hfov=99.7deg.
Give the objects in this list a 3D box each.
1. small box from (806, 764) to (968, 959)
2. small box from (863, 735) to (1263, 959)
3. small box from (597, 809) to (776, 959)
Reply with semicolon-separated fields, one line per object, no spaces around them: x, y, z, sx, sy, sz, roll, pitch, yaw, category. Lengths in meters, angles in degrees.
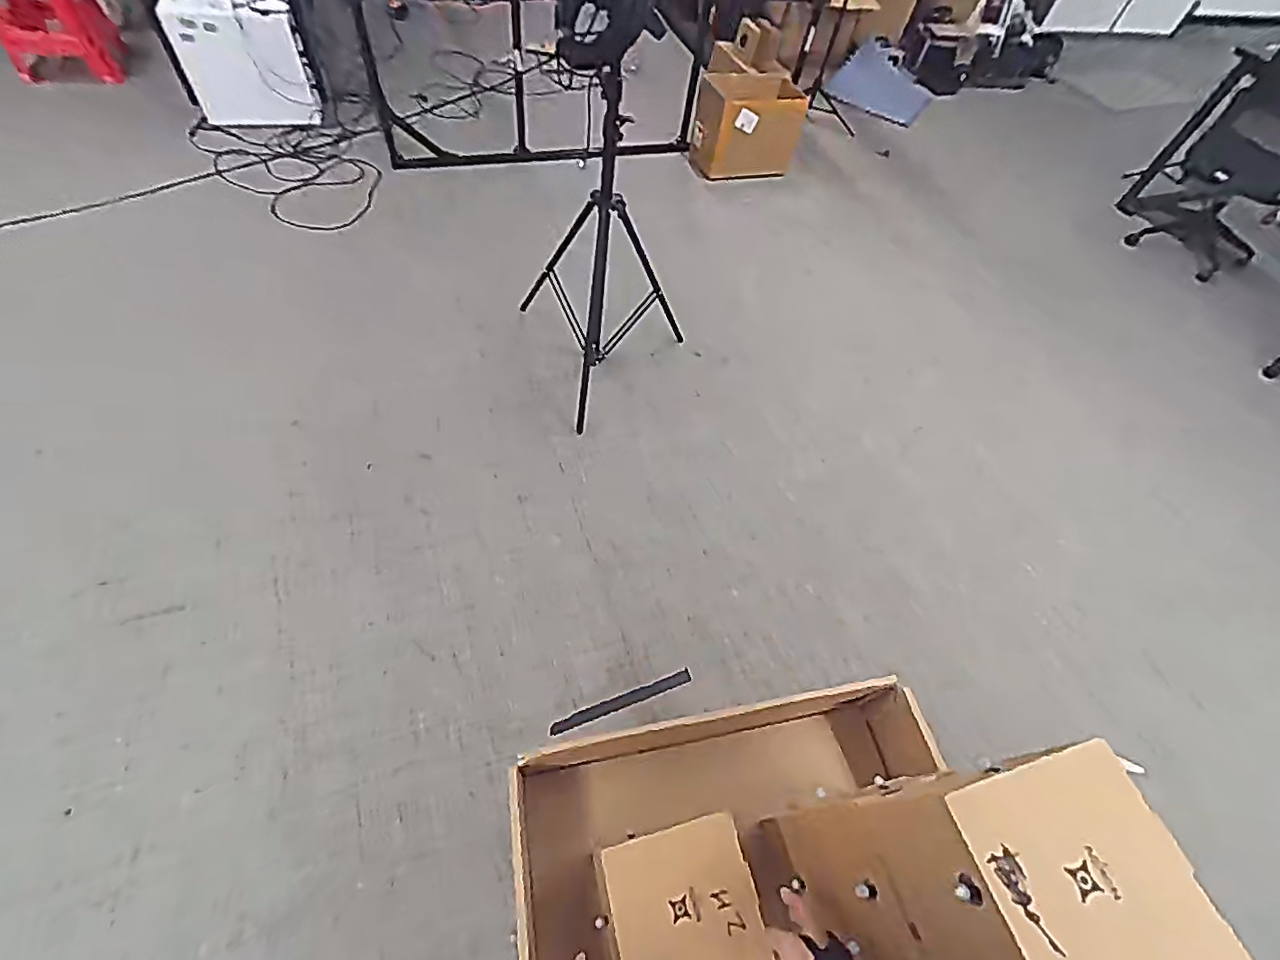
0.315;0.437;0.603;0.168;0.176;0.179;-8;57;-13;small box
0.336;0.342;0.471;0.179;0.176;0.168;-9;57;-15;small box
0.044;0.541;0.691;0.179;0.176;0.168;-8;58;-14;small box
